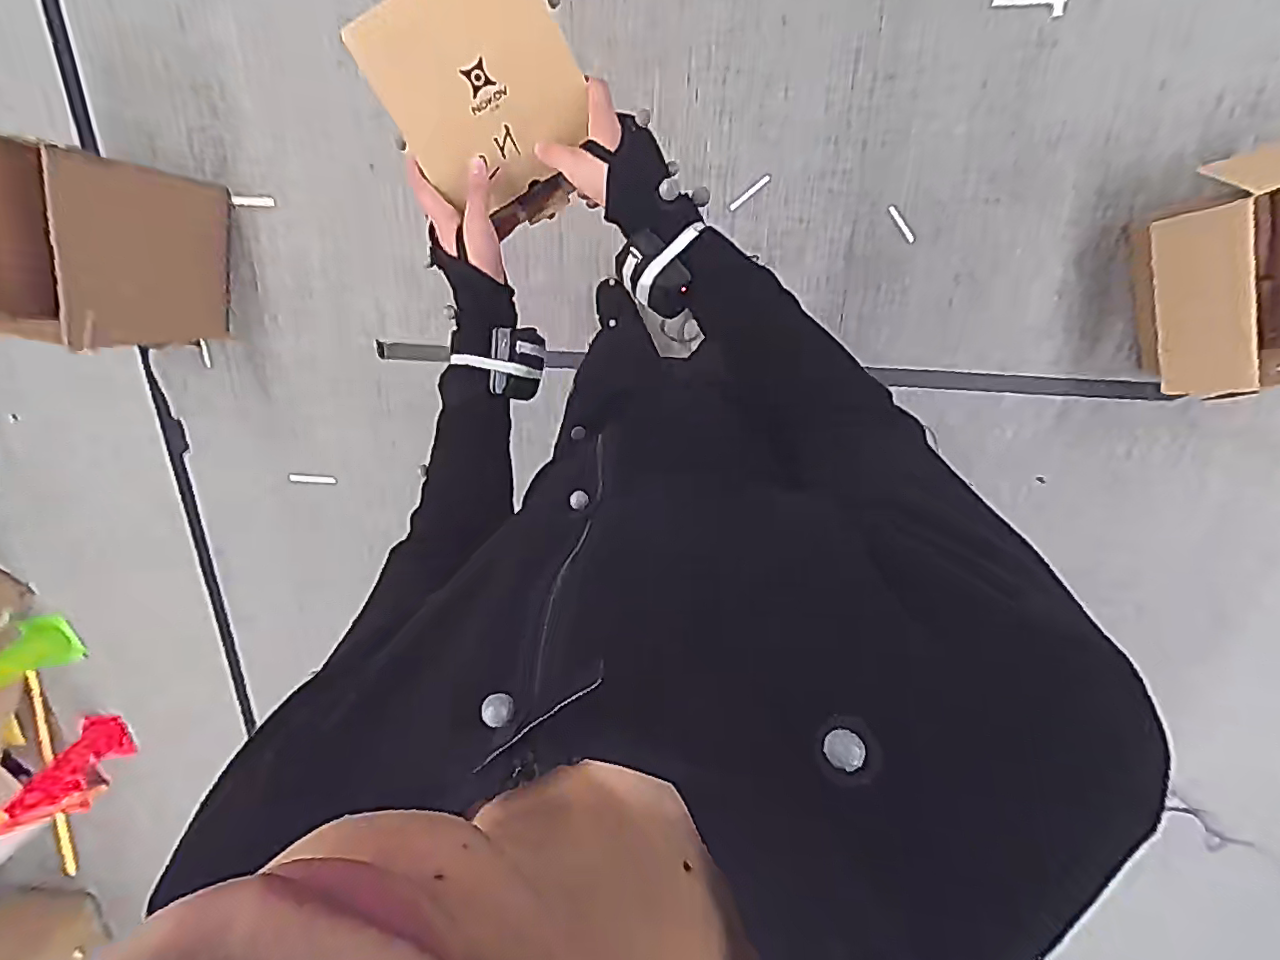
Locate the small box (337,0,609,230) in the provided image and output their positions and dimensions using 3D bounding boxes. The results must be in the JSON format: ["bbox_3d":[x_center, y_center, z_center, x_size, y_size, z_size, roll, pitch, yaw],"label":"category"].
[{"bbox_3d":[-0.145,-0.369,0.533,0.168,0.176,0.179,-28,113,6],"label":"small box"}]
